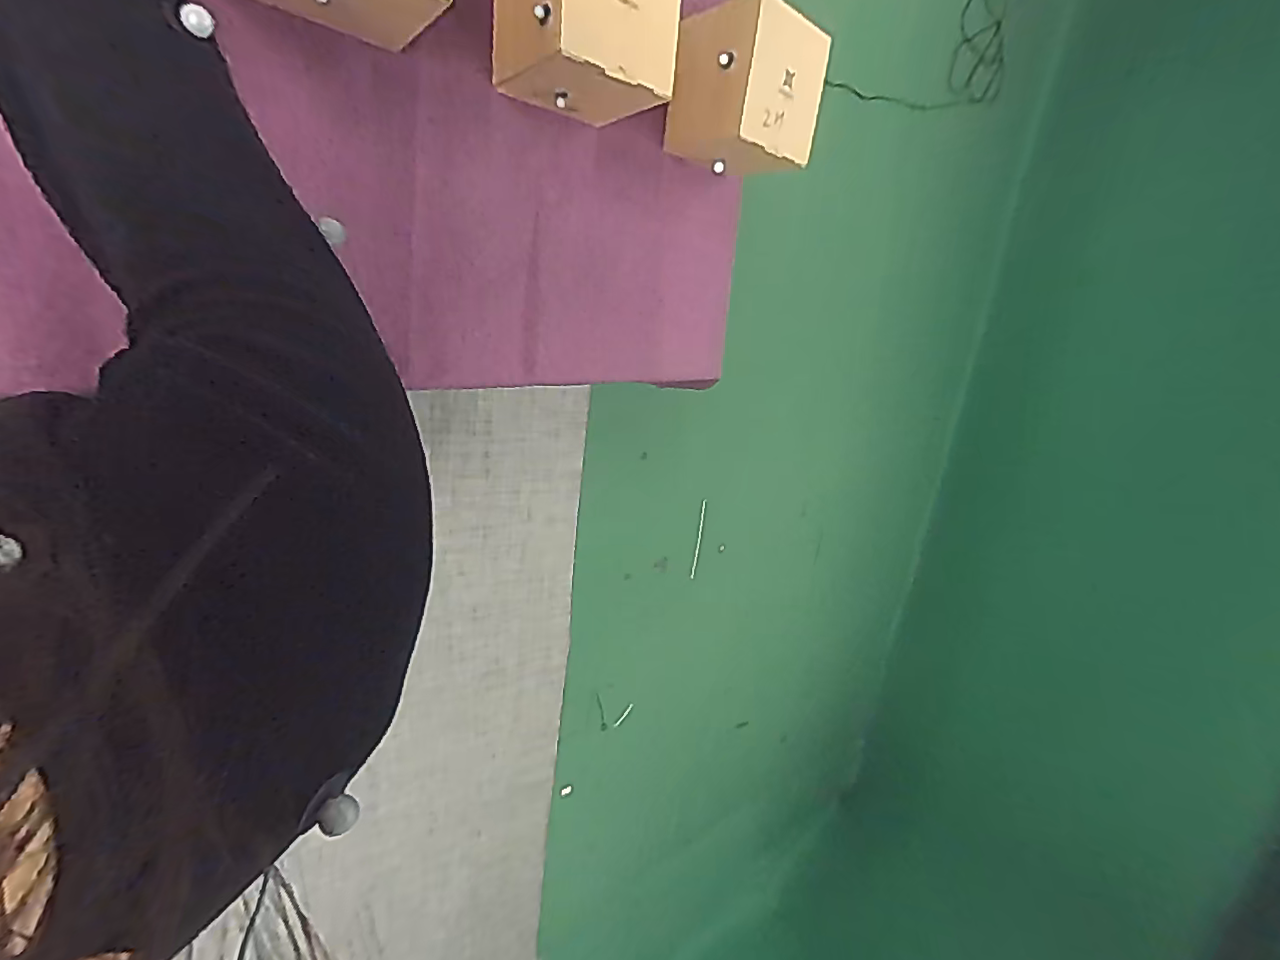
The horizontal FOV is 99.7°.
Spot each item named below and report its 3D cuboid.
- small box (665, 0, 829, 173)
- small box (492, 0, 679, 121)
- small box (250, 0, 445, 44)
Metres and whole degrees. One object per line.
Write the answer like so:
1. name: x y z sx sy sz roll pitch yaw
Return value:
1. small box: 0.157 -0.596 0.834 0.168 0.176 0.179 -7 113 -38
2. small box: -0.070 -0.570 0.656 0.168 0.176 0.179 -10 113 -38
3. small box: -0.287 -0.530 0.480 0.179 0.176 0.168 -7 110 -38
